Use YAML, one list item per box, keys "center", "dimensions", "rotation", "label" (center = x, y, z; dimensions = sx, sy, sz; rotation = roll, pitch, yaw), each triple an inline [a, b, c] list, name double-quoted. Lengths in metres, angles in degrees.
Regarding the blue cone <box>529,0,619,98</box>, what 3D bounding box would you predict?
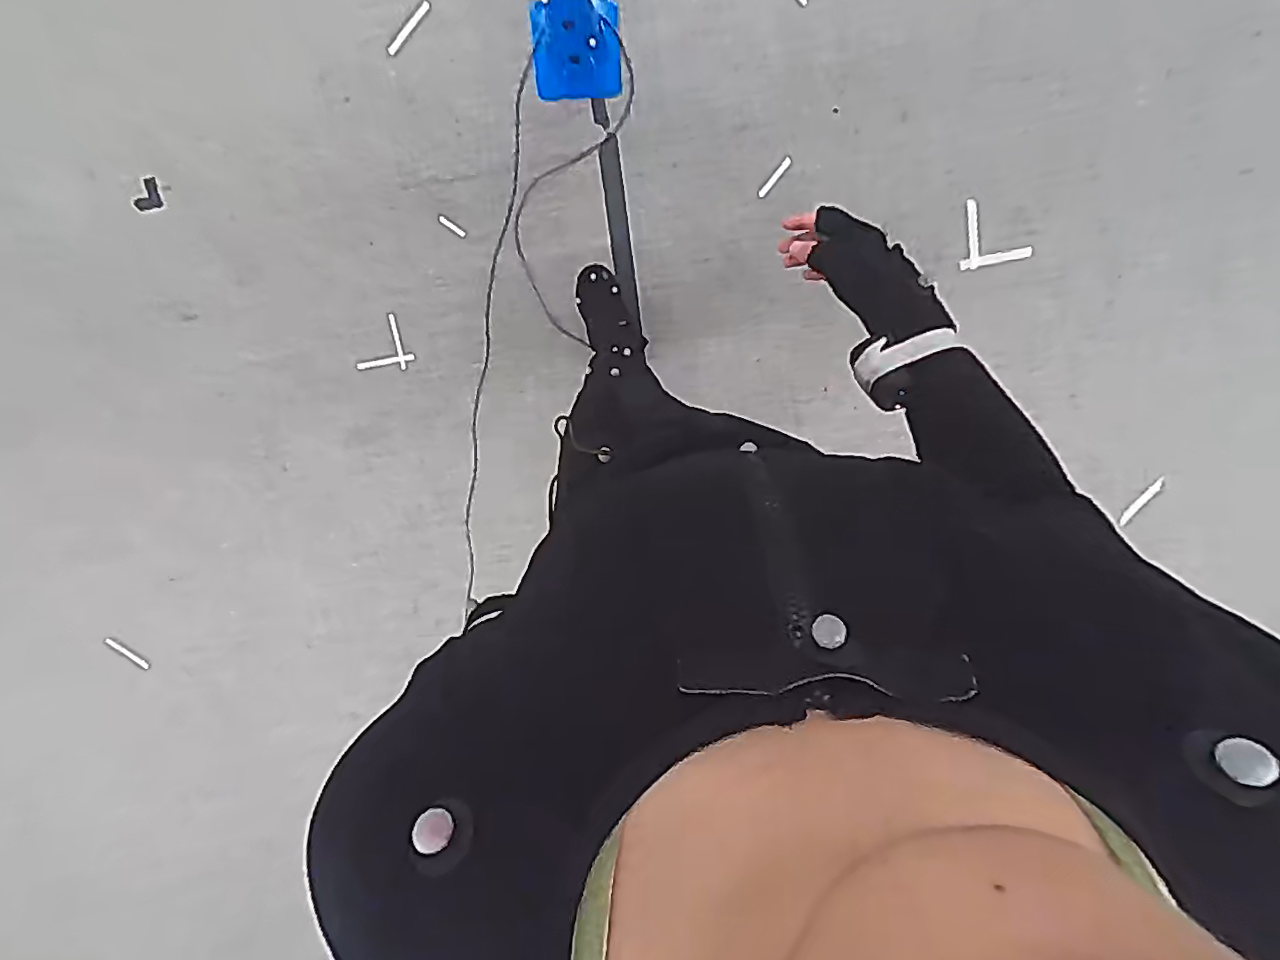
- center: [-0.148, -0.932, 1.055]
  dimensions: [0.193, 0.380, 0.192]
  rotation: [-5, 104, 2]
  label: "blue cone"
